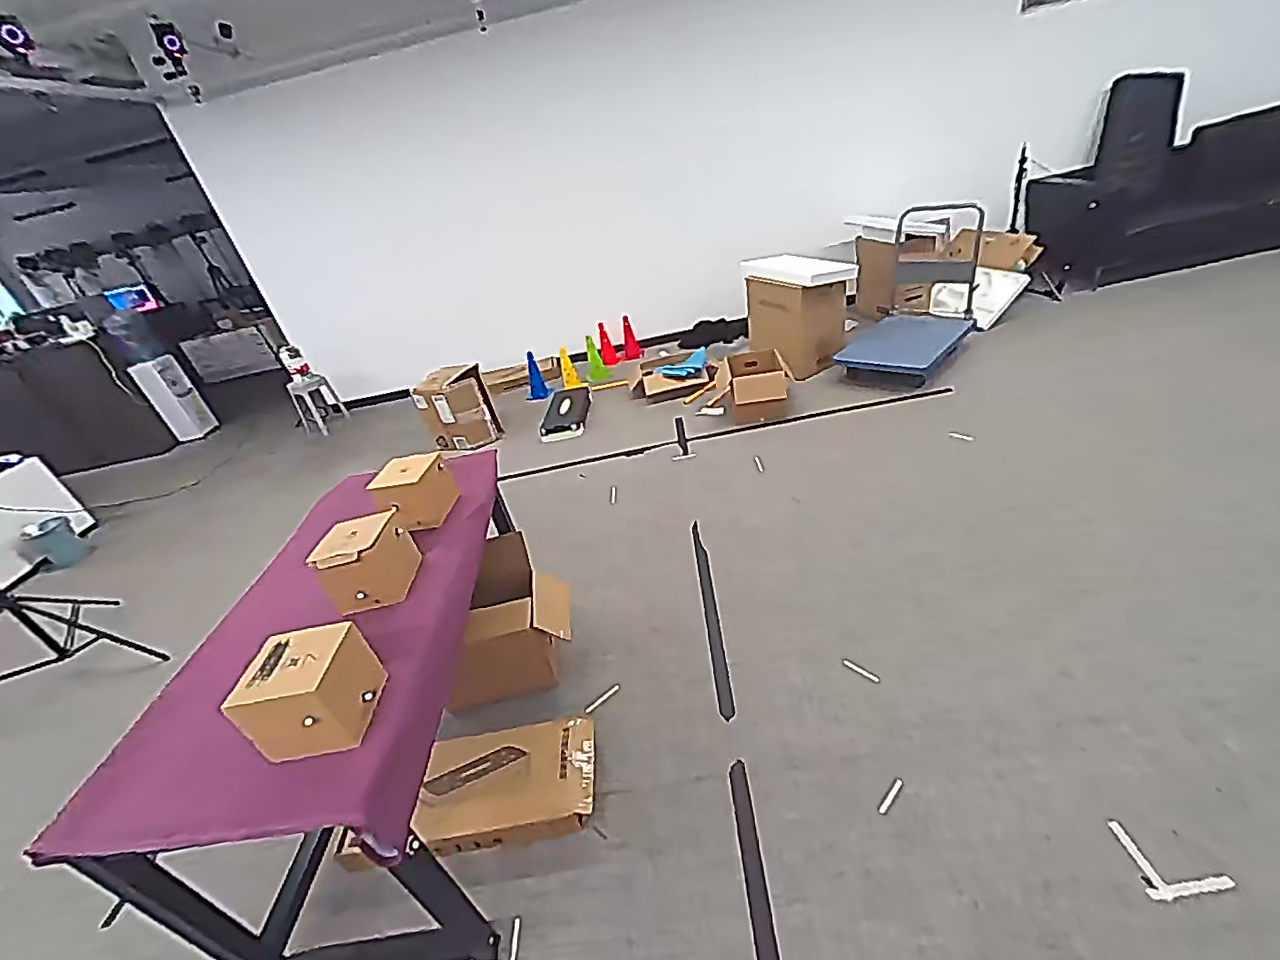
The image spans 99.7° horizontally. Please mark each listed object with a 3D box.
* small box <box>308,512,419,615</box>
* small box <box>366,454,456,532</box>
[{"bbox_3d":[-0.687,0.211,1.371,0.168,0.176,0.179,-14,31,4],"label":"small box"},{"bbox_3d":[-0.683,0.044,1.642,0.168,0.176,0.179,-8,31,9],"label":"small box"}]
